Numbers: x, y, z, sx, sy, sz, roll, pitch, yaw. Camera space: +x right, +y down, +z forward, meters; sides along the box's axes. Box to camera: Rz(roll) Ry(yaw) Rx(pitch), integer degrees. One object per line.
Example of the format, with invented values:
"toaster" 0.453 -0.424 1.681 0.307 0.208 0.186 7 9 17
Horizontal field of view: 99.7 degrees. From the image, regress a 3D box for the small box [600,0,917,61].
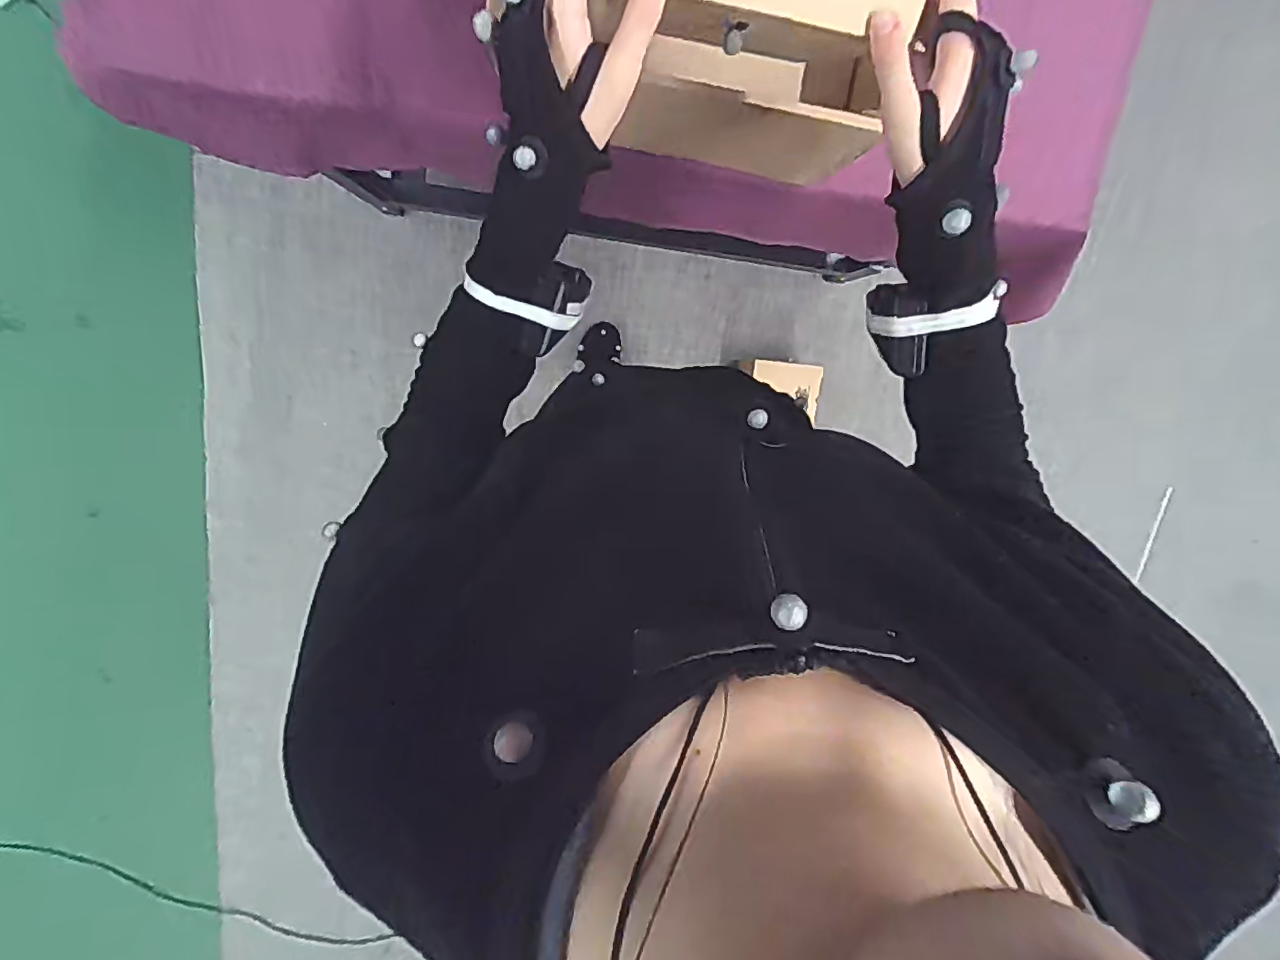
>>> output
"small box" 0.073 -0.374 0.329 0.179 0.176 0.168 2 124 -13
